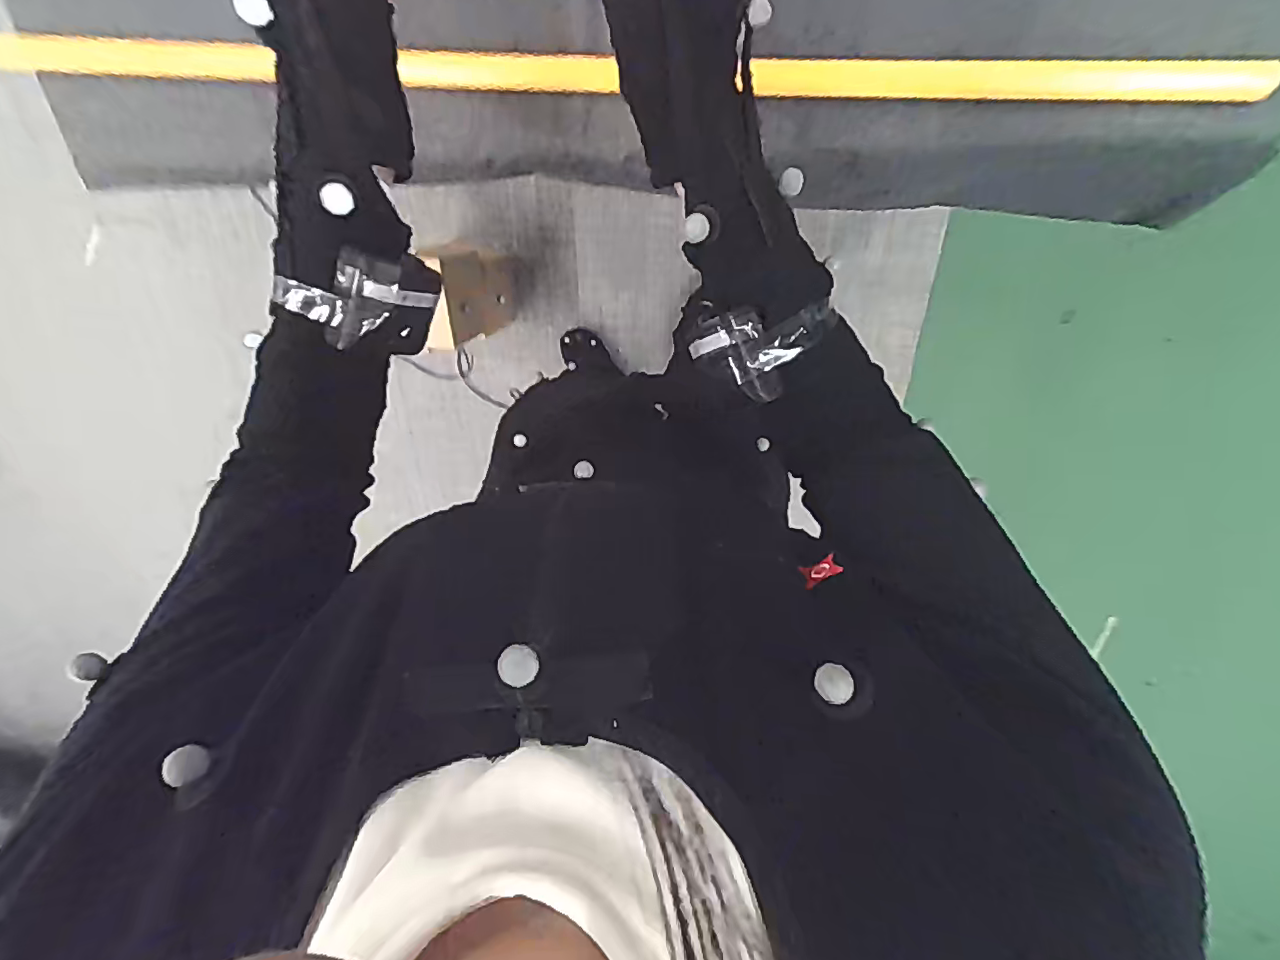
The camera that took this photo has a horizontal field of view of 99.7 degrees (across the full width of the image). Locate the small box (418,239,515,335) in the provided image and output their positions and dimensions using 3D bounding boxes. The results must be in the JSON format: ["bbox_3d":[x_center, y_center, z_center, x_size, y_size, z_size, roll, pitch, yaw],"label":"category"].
[{"bbox_3d":[-0.407,-0.467,1.291,0.168,0.176,0.179,13,121,6],"label":"small box"}]
